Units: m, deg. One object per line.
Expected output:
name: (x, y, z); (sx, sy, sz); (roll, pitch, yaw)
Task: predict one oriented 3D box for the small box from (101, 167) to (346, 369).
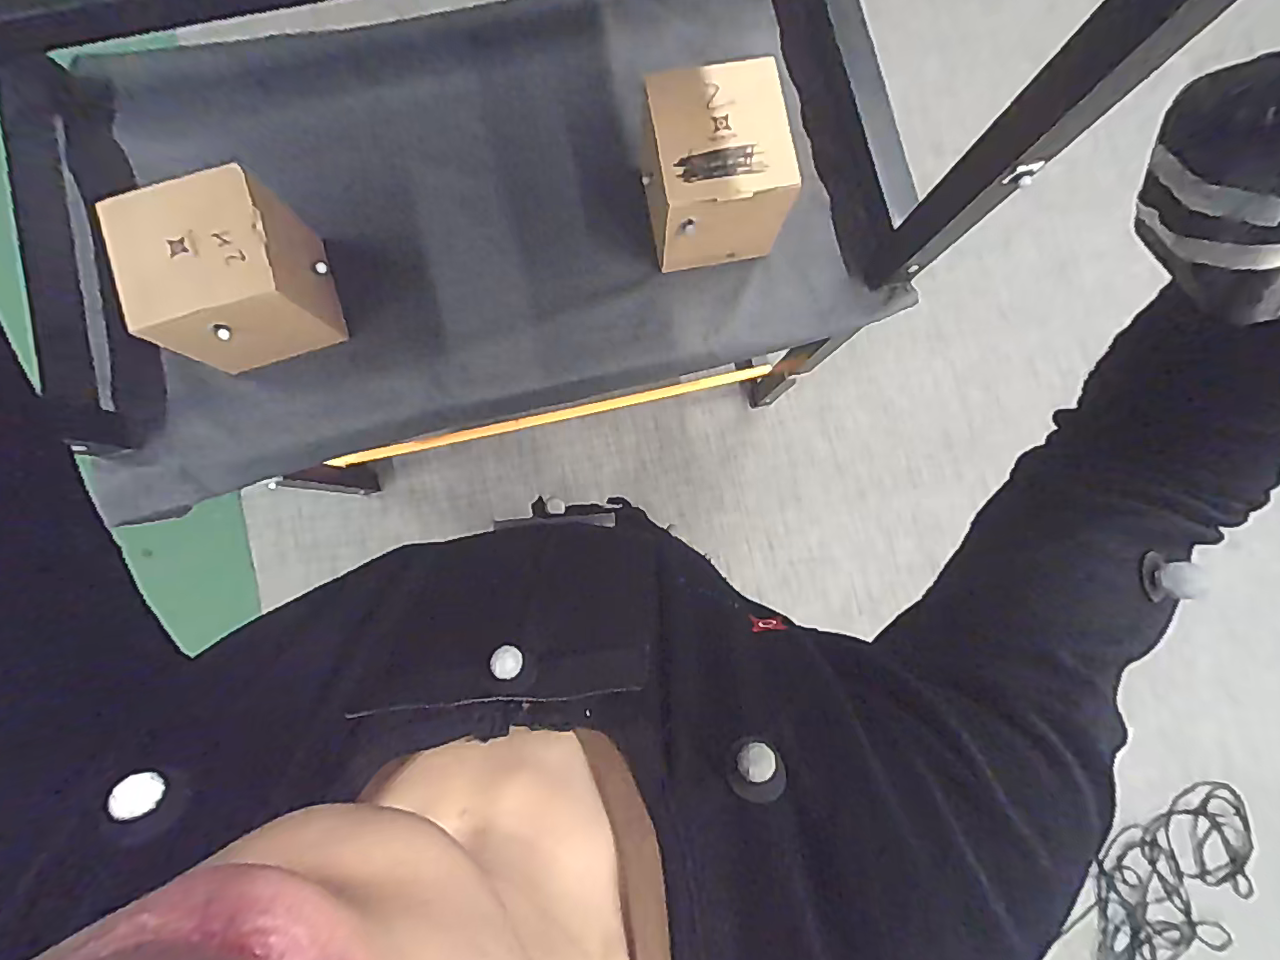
small box: (-0.529, -0.263, 0.711); (0.179, 0.176, 0.168); (-17, 86, -4)
